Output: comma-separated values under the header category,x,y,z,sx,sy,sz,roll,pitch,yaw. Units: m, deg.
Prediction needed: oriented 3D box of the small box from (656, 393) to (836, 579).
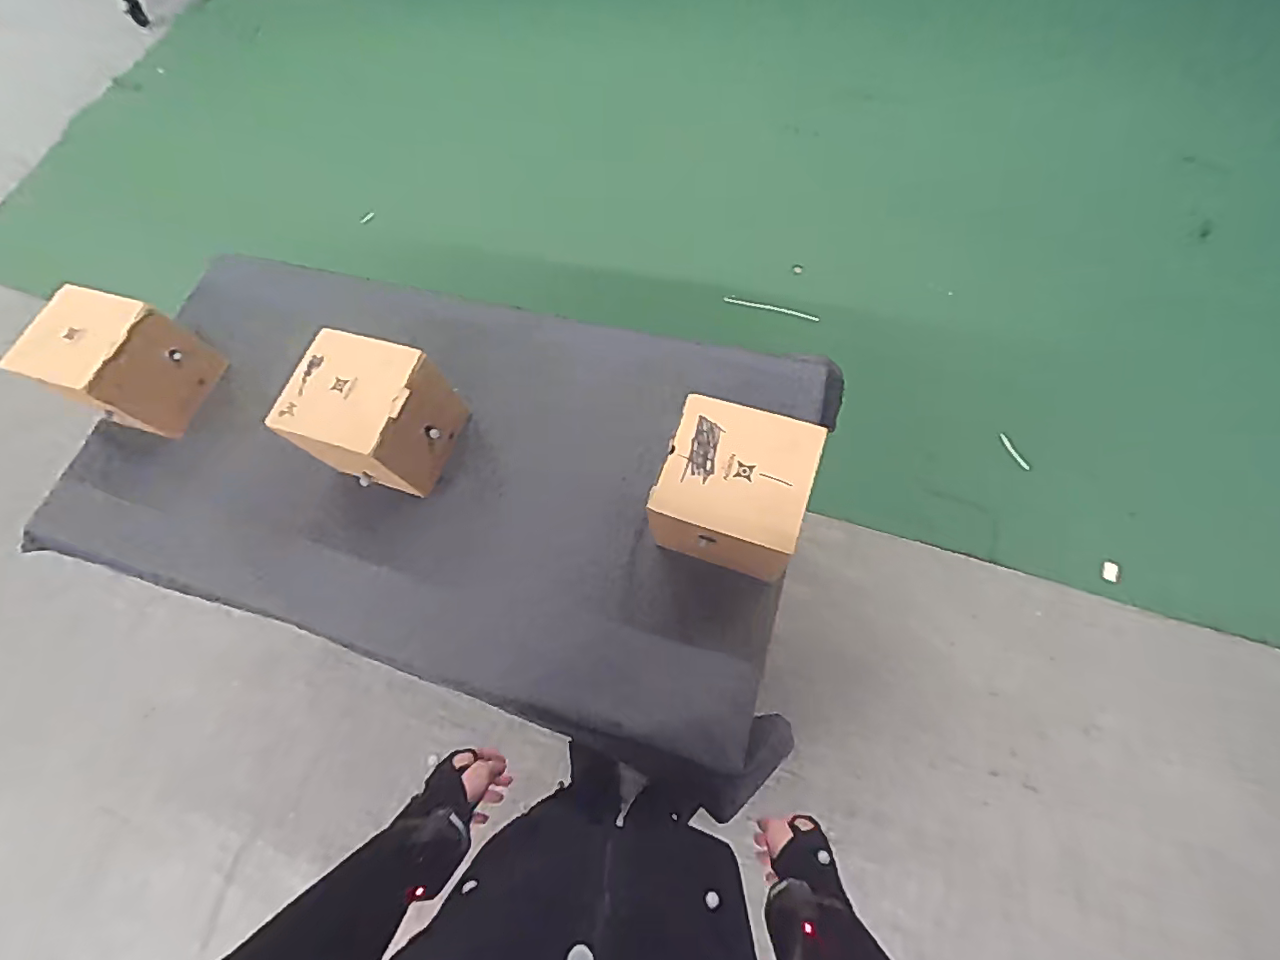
category,x,y,z,sx,sy,sz,roll,pitch,yaw
small box,0.130,0.016,0.707,0.179,0.176,0.168,18,70,10

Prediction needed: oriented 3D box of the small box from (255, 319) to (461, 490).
category,x,y,z,sx,sy,sz,roll,pitch,yaw
small box,-0.390,-0.101,0.789,0.179,0.176,0.168,17,69,9

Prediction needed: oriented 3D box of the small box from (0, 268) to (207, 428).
category,x,y,z,sx,sy,sz,roll,pitch,yaw
small box,-0.856,-0.201,0.858,0.179,0.176,0.168,14,68,10
